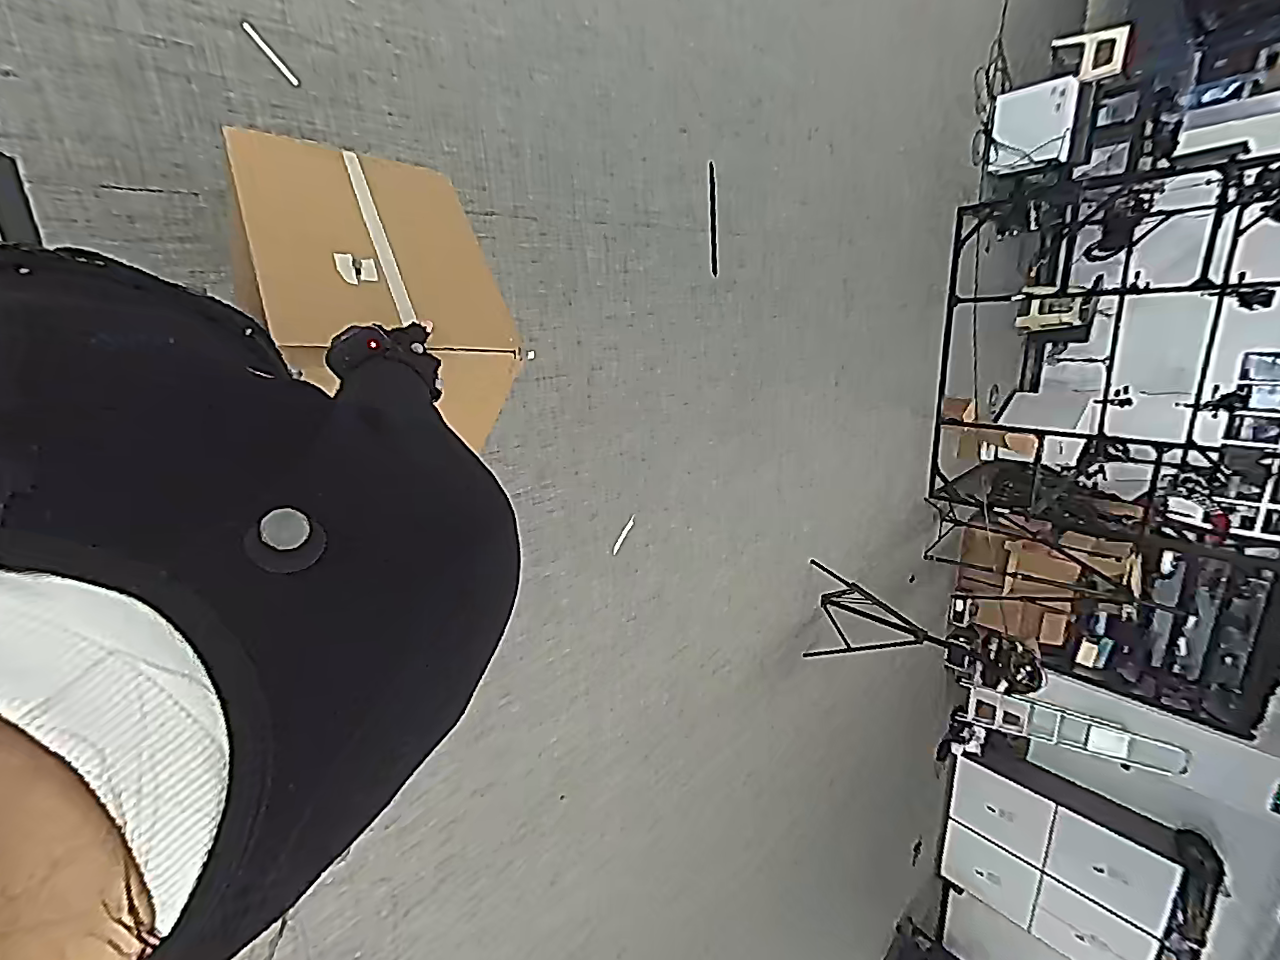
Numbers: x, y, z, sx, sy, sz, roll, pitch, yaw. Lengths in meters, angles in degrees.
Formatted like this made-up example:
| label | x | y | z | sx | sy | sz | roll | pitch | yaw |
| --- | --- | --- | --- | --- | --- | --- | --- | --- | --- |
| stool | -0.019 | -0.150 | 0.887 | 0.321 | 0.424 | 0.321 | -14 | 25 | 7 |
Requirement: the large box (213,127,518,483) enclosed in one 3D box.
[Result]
| label | x | y | z | sx | sy | sz | roll | pitch | yaw |
| --- | --- | --- | --- | --- | --- | --- | --- | --- | --- |
| large box | -0.447 | -0.254 | 0.864 | 0.320 | 0.320 | 0.408 | -10 | 66 | -37 |
